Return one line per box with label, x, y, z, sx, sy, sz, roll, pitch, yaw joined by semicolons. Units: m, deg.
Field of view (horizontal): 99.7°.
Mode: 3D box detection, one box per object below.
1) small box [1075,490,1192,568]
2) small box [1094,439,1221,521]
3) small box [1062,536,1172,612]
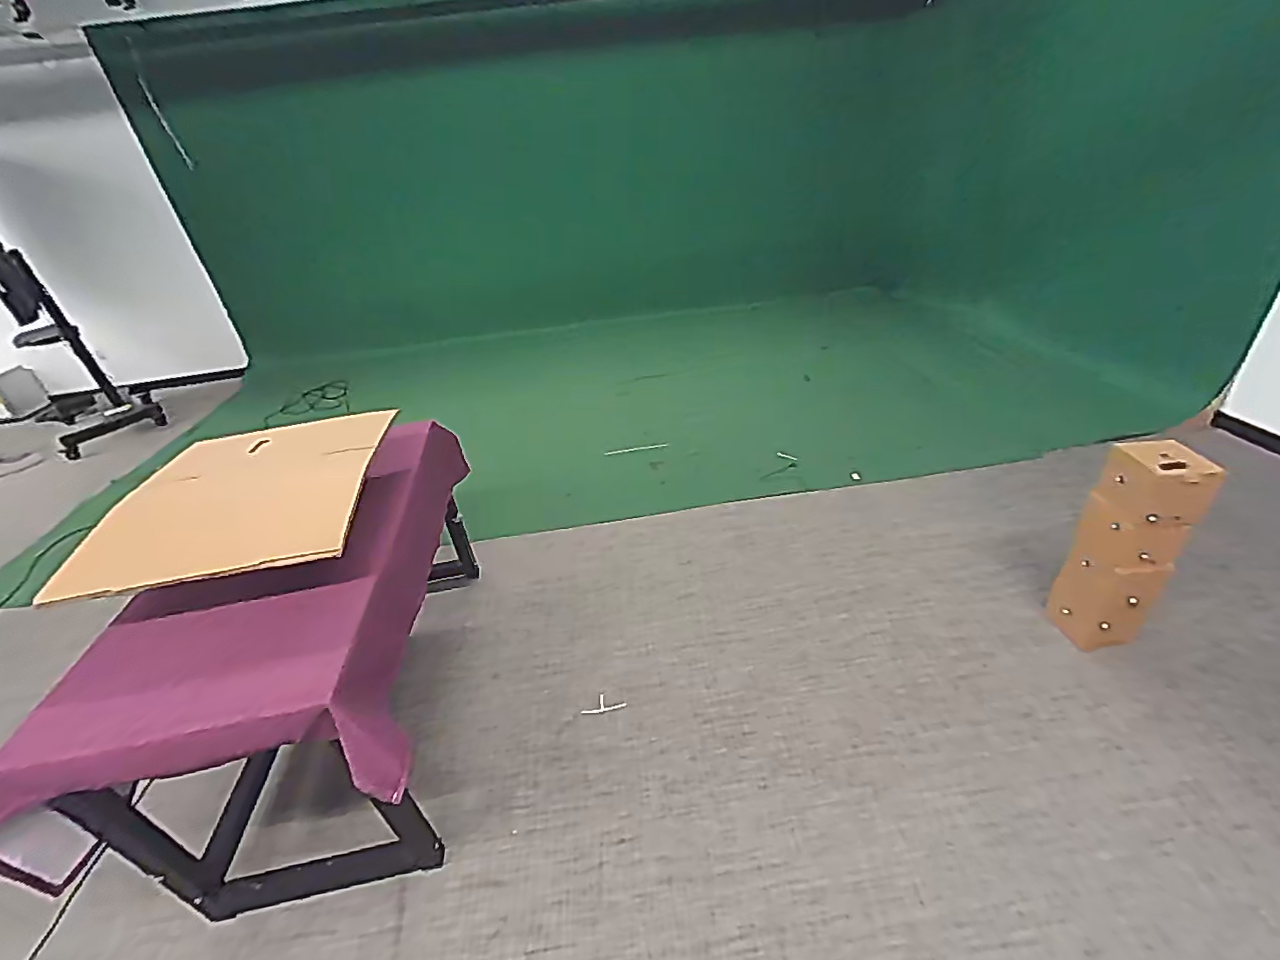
small box;1.445;0.139;1.601;0.168;0.176;0.179;-5;33;4
small box;1.431;0.003;1.510;0.168;0.176;0.179;-4;31;5
small box;1.465;0.282;1.678;0.168;0.176;0.179;-8;32;1
